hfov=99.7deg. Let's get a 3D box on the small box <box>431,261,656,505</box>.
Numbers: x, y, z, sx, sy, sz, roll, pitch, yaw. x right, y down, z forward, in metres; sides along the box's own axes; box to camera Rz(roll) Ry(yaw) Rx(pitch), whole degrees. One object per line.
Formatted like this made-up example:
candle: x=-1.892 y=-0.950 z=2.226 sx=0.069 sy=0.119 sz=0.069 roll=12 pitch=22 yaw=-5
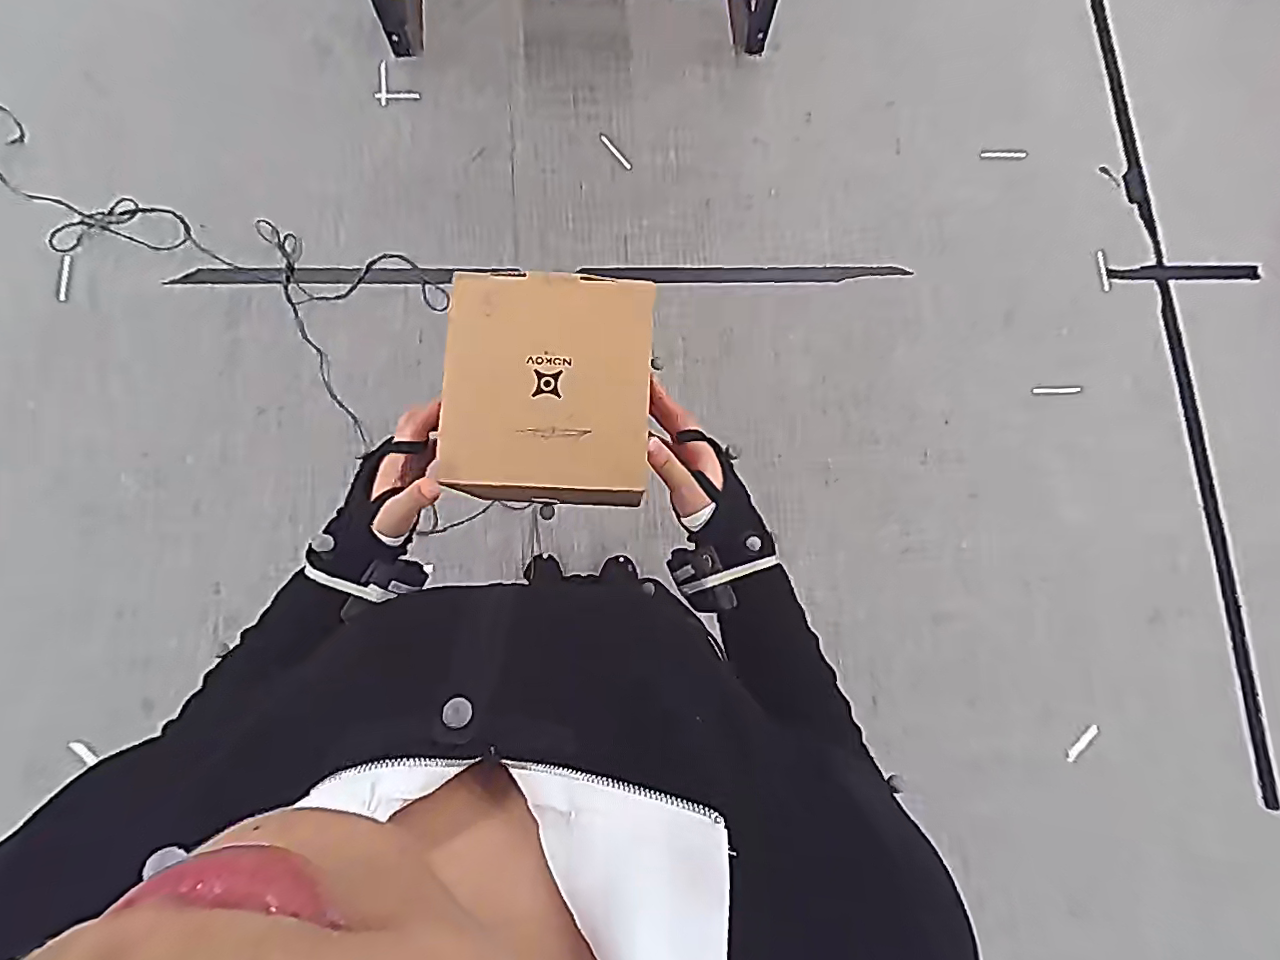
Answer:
small box: x=-0.077 y=-0.074 z=0.501 sx=0.168 sy=0.176 sz=0.179 roll=3 pitch=83 yaw=-2
